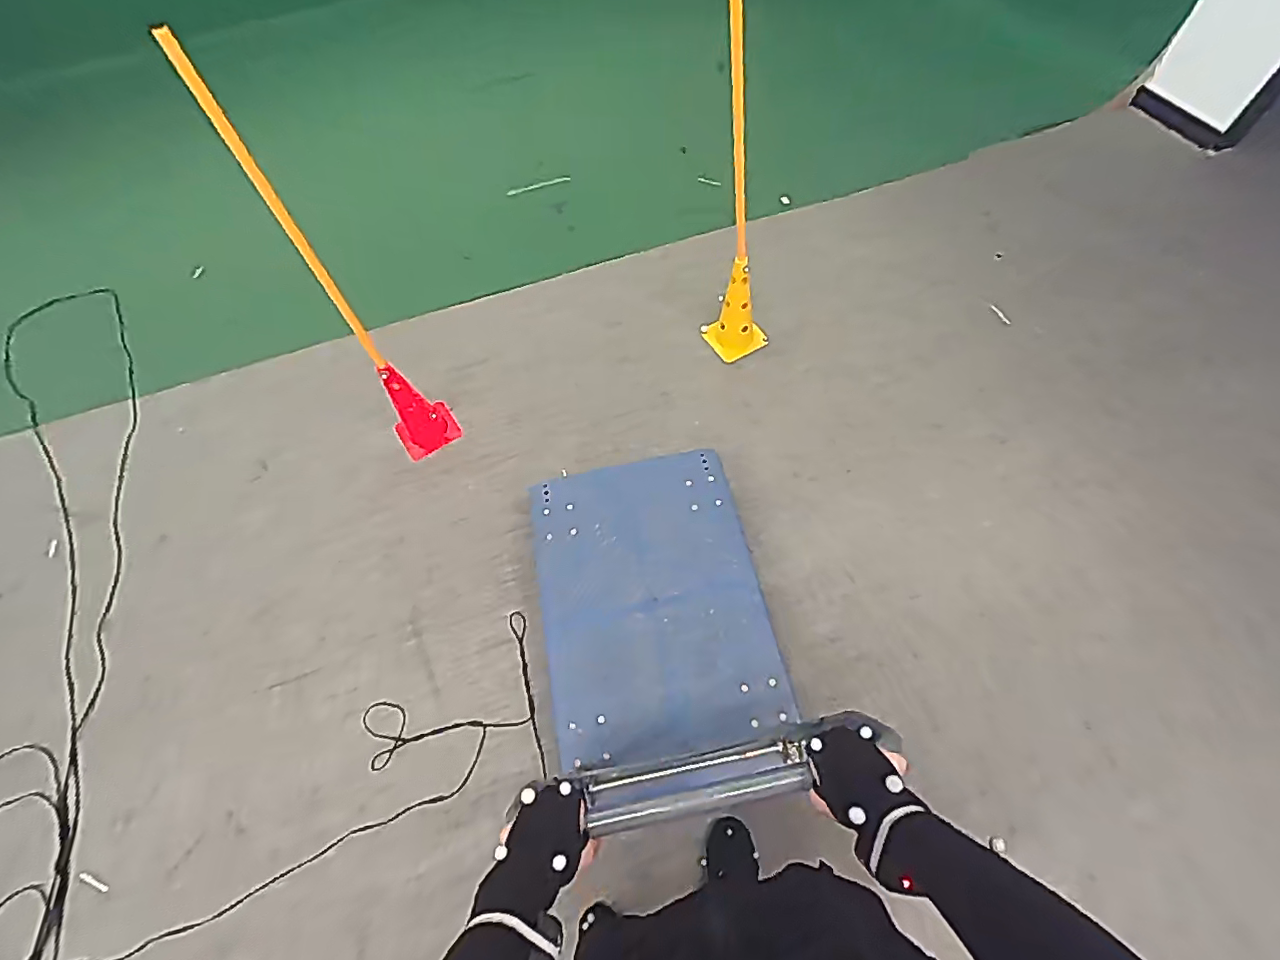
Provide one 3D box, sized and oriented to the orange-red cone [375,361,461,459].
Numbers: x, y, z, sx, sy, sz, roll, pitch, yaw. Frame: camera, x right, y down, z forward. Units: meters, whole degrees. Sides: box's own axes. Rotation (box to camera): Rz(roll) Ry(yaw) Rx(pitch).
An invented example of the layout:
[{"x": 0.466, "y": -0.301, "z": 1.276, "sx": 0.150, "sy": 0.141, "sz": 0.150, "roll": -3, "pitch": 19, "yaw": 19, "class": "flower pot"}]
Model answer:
[{"x": -0.775, "y": -0.262, "z": 1.796, "sx": 0.199, "sy": 0.360, "sz": 0.198, "roll": -32, "pitch": 63, "yaw": -11, "class": "orange-red cone"}]
